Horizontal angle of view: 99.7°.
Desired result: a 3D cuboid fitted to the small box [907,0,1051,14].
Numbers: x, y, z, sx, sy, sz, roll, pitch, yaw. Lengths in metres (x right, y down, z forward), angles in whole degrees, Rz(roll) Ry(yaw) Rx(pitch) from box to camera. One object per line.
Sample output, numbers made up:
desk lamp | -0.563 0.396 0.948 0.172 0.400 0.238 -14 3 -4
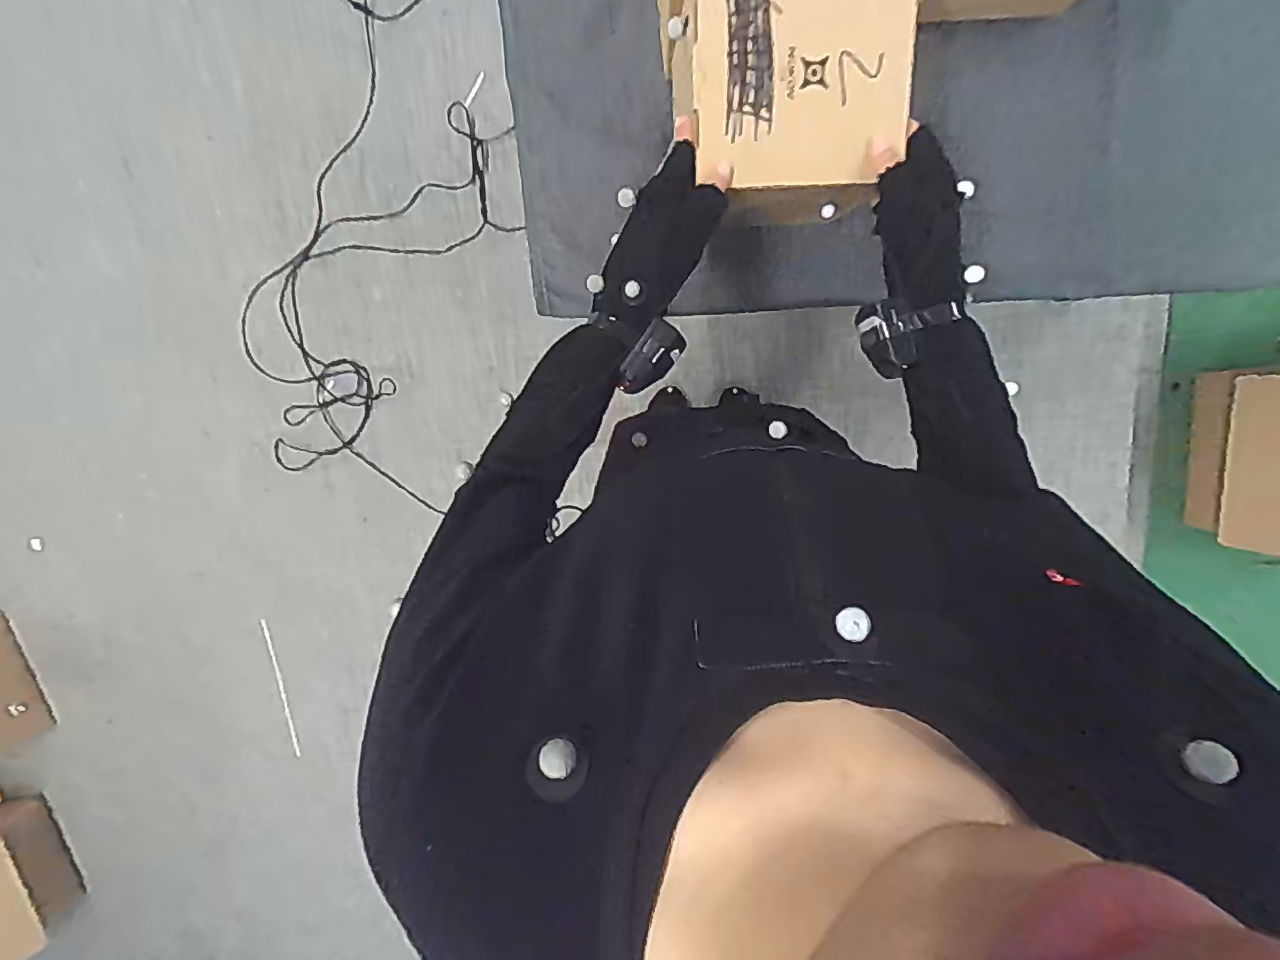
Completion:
small box | 0.386 -0.595 0.520 0.179 0.176 0.168 -1 101 2
